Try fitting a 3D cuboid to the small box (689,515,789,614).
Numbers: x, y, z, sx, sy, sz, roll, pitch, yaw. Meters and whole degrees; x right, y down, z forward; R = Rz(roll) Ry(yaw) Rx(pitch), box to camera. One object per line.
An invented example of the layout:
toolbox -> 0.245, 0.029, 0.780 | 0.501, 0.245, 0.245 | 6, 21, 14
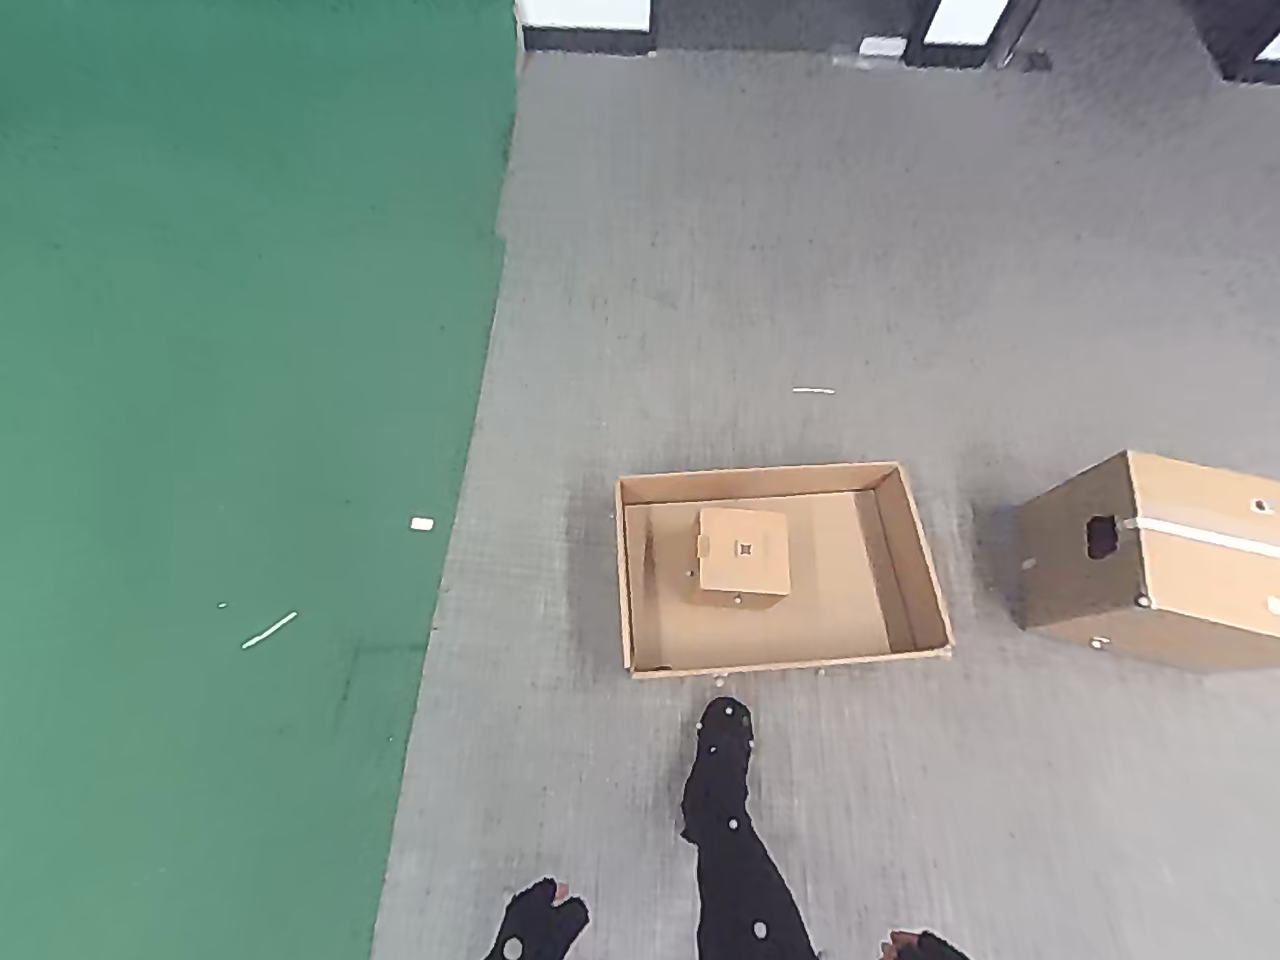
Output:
small box -> 0.196, 0.181, 1.122 | 0.179, 0.176, 0.168 | 4, 66, -2
